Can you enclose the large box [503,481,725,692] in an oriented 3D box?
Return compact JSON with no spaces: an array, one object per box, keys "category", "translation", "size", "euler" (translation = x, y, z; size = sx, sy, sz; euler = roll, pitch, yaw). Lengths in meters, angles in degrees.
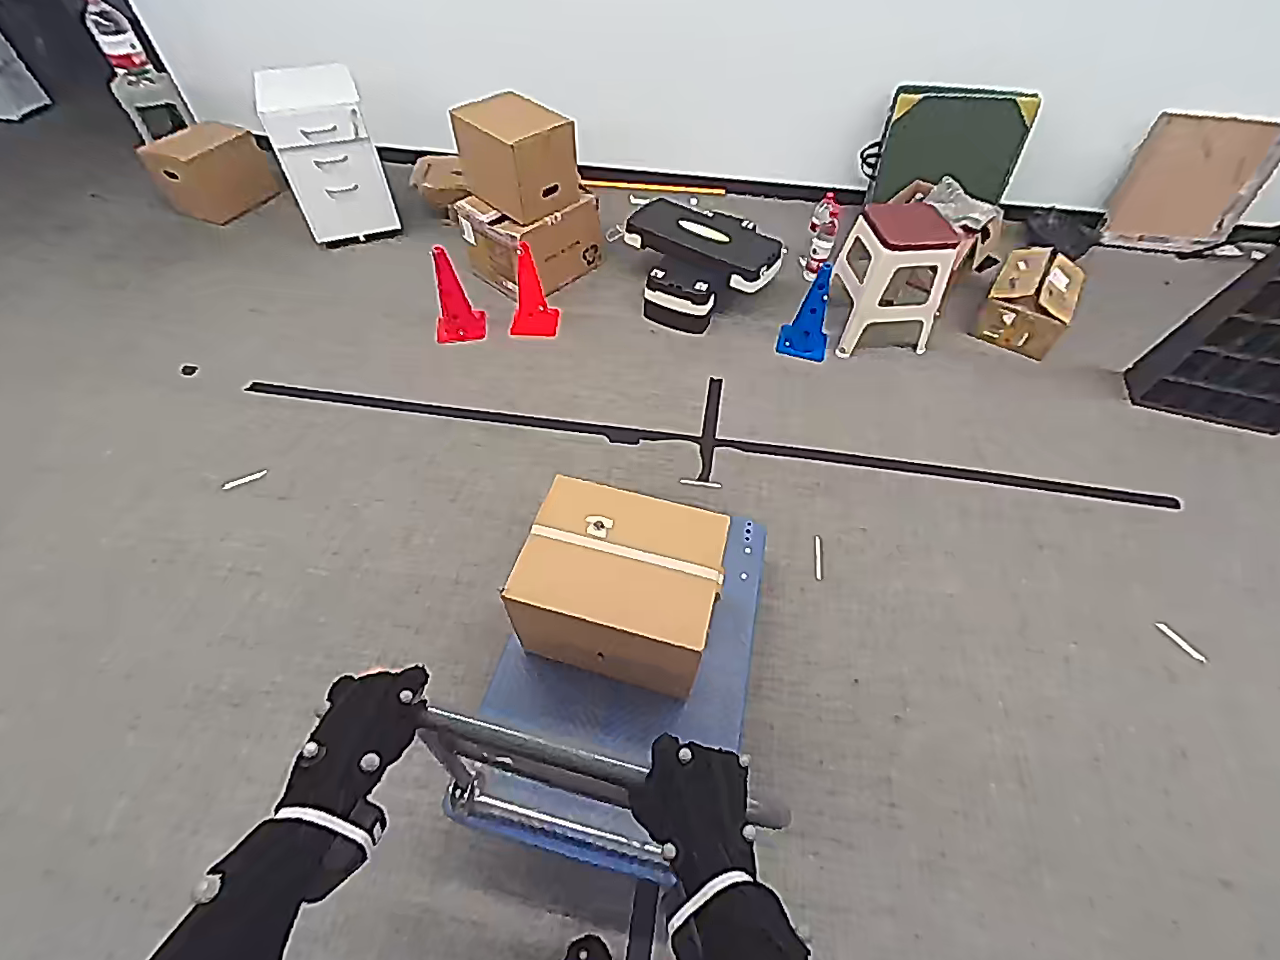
[{"category":"large box","translation":[-0.042,0.249,1.244],"size":[0.408,0.320,0.320],"euler":[13,54,9]}]
